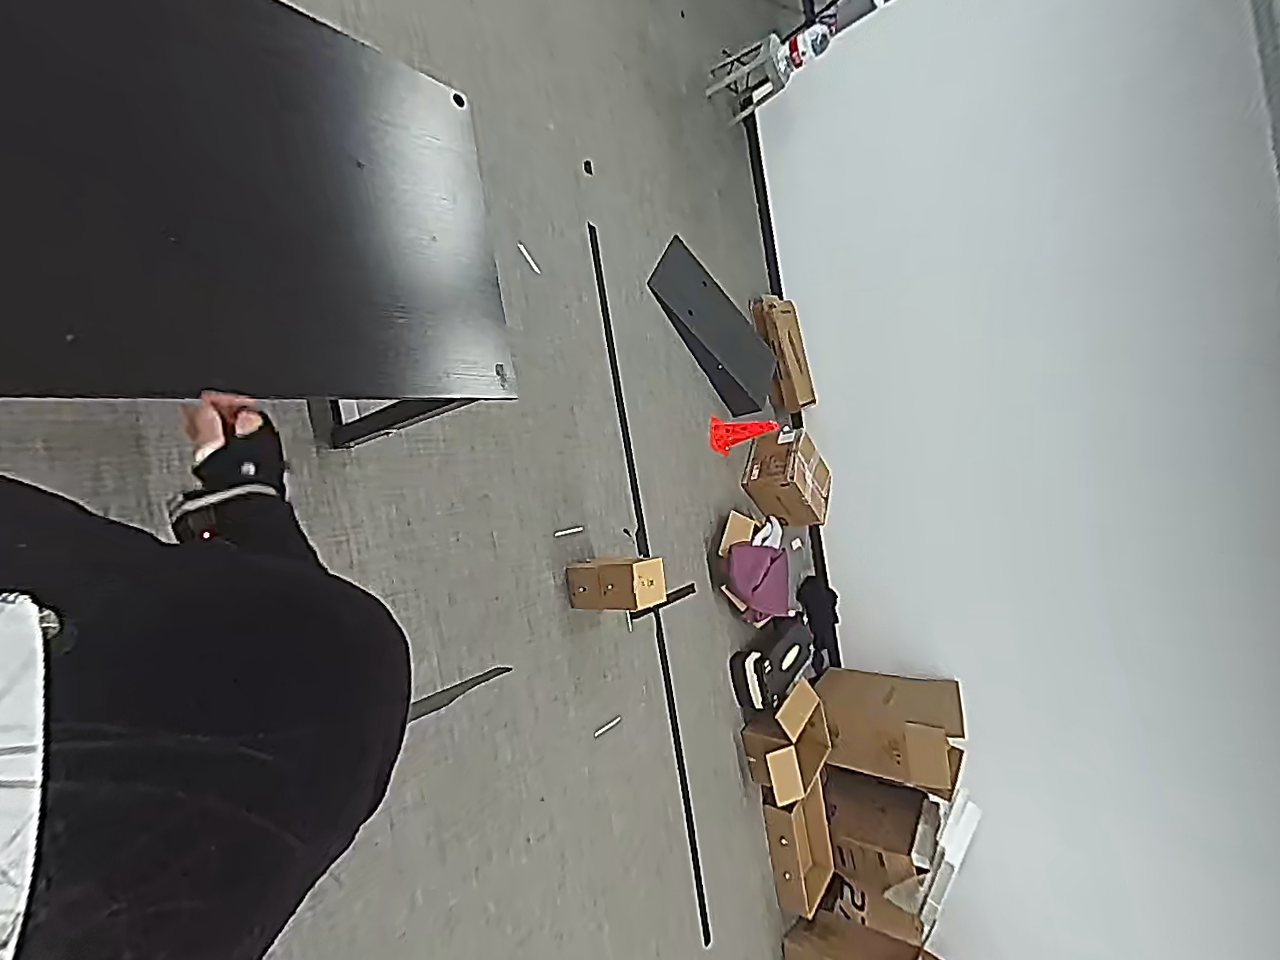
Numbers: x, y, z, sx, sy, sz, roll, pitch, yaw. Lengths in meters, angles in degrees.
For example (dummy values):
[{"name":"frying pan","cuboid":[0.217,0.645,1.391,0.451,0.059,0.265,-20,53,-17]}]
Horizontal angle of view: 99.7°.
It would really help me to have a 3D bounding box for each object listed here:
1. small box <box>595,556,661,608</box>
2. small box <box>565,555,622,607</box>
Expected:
[{"name":"small box","cuboid":[-0.044,0.373,2.001,0.179,0.176,0.168,-2,84,-51]},{"name":"small box","cuboid":[-0.175,0.391,2.102,0.179,0.176,0.168,-11,92,-51]}]
